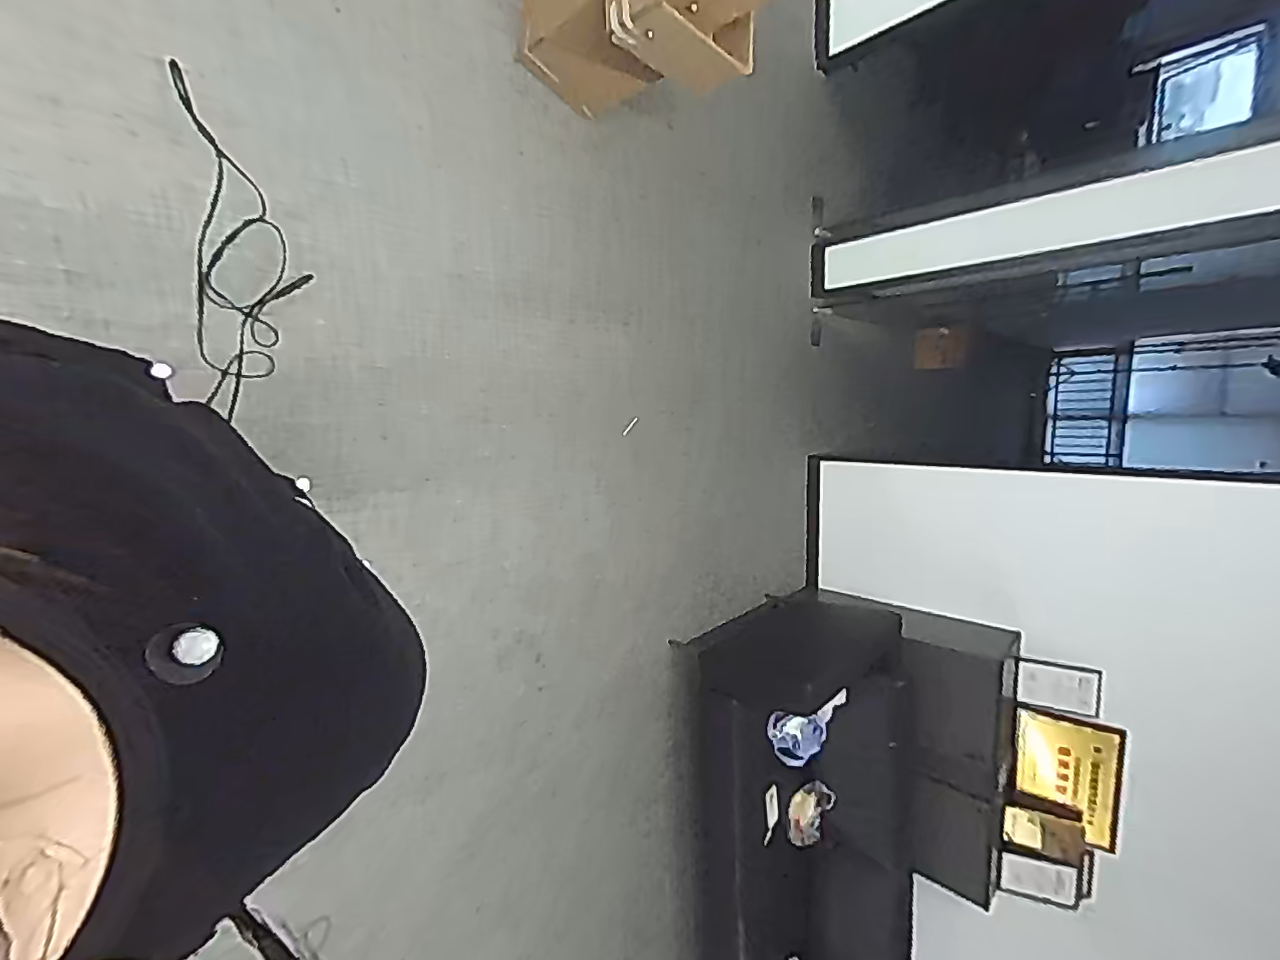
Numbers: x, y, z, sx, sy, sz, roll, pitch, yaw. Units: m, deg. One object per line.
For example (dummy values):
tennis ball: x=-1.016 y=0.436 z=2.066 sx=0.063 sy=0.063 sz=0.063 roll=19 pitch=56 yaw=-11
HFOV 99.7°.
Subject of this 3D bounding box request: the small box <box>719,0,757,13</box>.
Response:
small box: x=0.252 y=-1.292 z=1.305 sx=0.179 sy=0.176 sz=0.168 roll=-4 pitch=97 yaw=-47
